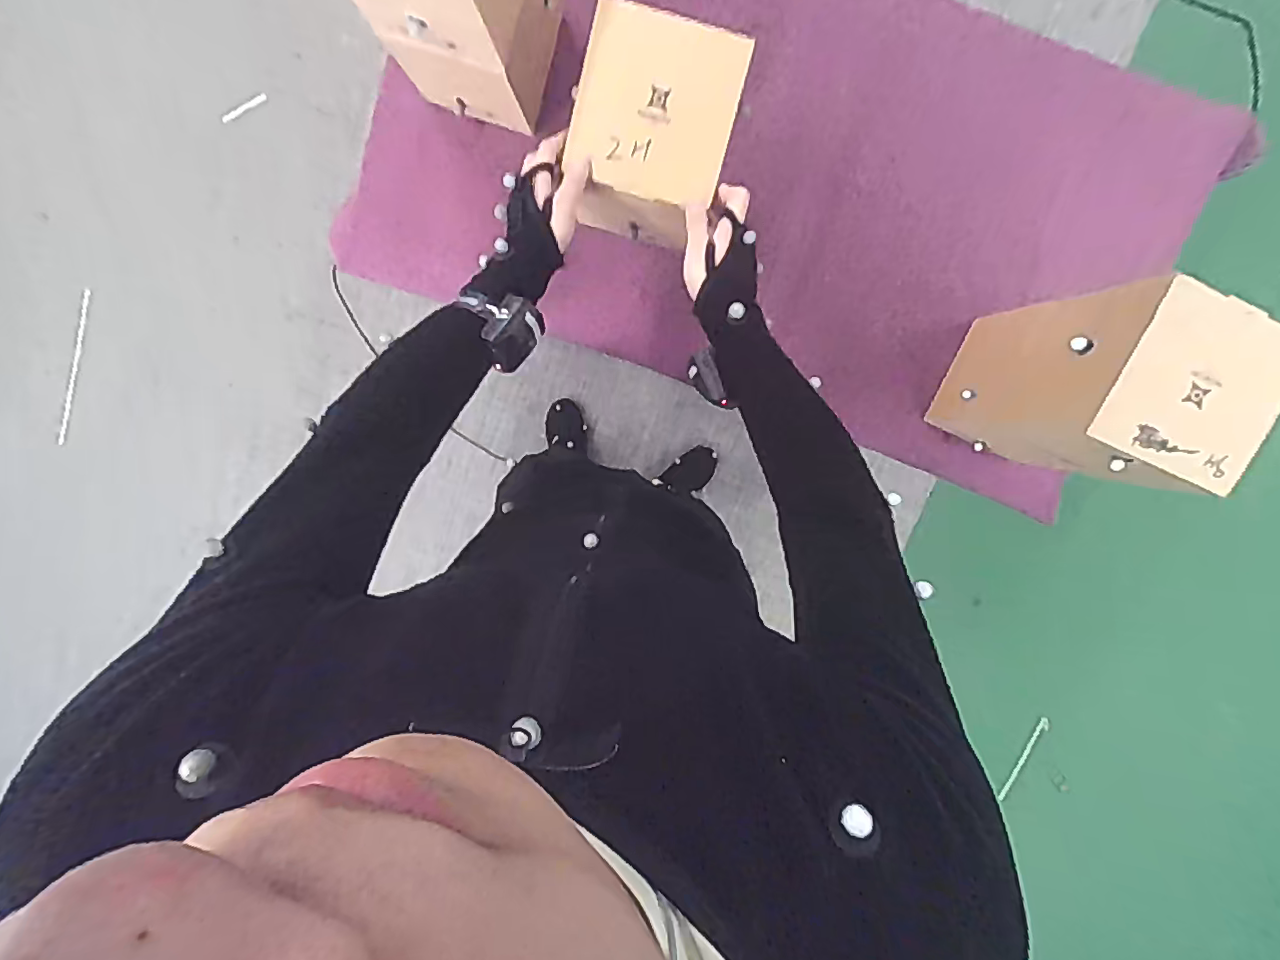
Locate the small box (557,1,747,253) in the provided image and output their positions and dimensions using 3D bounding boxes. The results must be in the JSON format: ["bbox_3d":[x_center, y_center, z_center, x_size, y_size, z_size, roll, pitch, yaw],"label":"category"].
[{"bbox_3d":[0.011,-0.399,0.645,0.168,0.176,0.179,15,99,-2],"label":"small box"}]

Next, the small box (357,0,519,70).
[{"bbox_3d":[-0.219,-0.582,0.556,0.168,0.176,0.179,17,99,-1],"label":"small box"}]

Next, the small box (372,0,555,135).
[{"bbox_3d":[-0.219,-0.607,0.717,0.168,0.176,0.179,17,99,-2],"label":"small box"}]

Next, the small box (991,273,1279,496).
[{"bbox_3d":[0.554,-0.103,0.620,0.168,0.176,0.179,24,97,-2],"label":"small box"}]
